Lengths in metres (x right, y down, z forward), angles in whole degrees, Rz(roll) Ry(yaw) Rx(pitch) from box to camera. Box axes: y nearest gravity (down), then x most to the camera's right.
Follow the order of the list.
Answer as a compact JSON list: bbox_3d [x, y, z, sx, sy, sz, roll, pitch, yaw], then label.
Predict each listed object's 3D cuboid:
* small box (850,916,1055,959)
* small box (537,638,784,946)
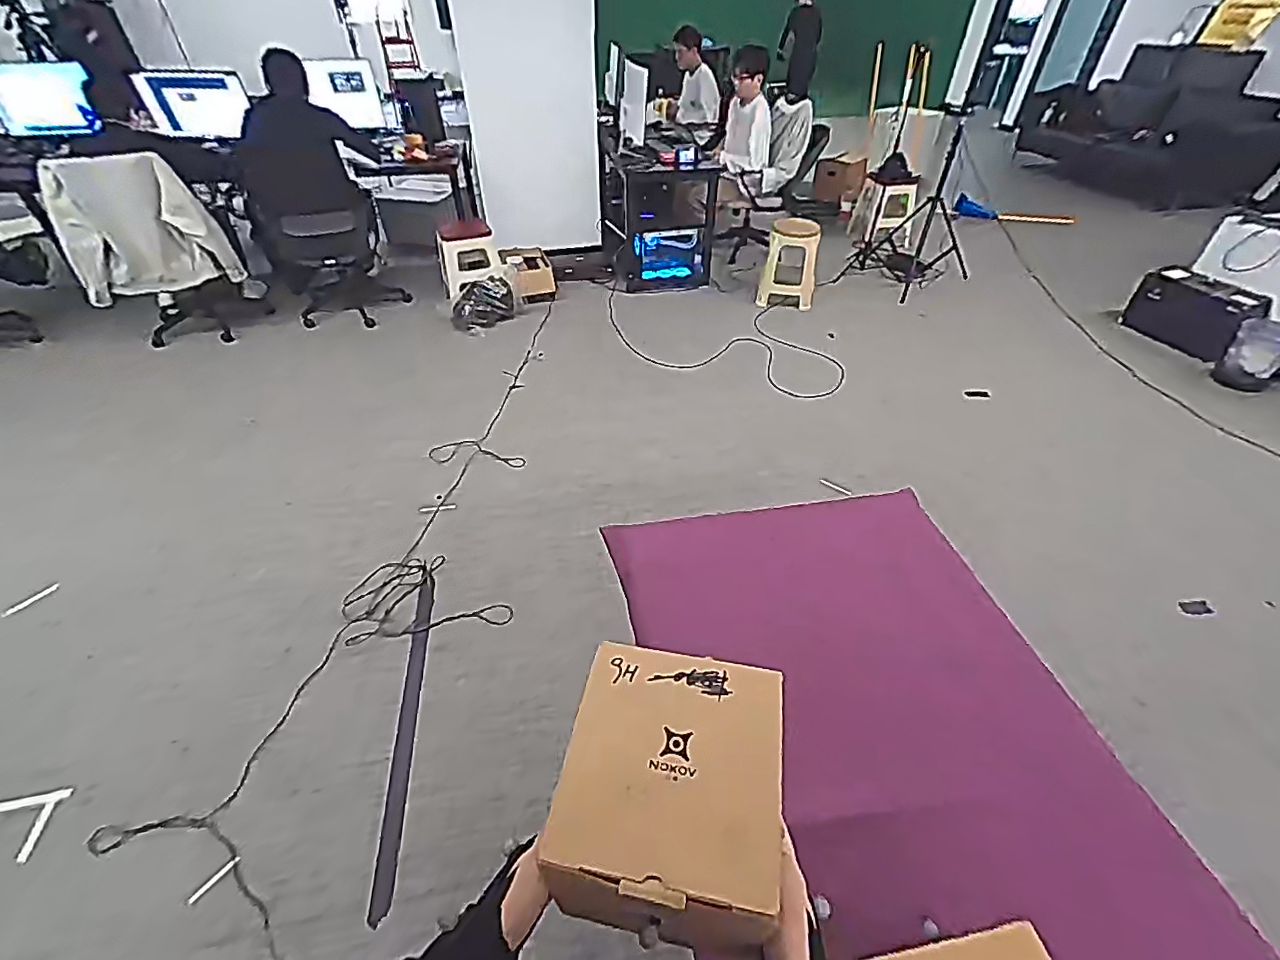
[{"bbox_3d":[0.291,0.527,0.485,0.179,0.176,0.168,-6,42,-8],"label":"small box"},{"bbox_3d":[0.027,0.270,0.471,0.168,0.176,0.179,8,43,9],"label":"small box"}]
